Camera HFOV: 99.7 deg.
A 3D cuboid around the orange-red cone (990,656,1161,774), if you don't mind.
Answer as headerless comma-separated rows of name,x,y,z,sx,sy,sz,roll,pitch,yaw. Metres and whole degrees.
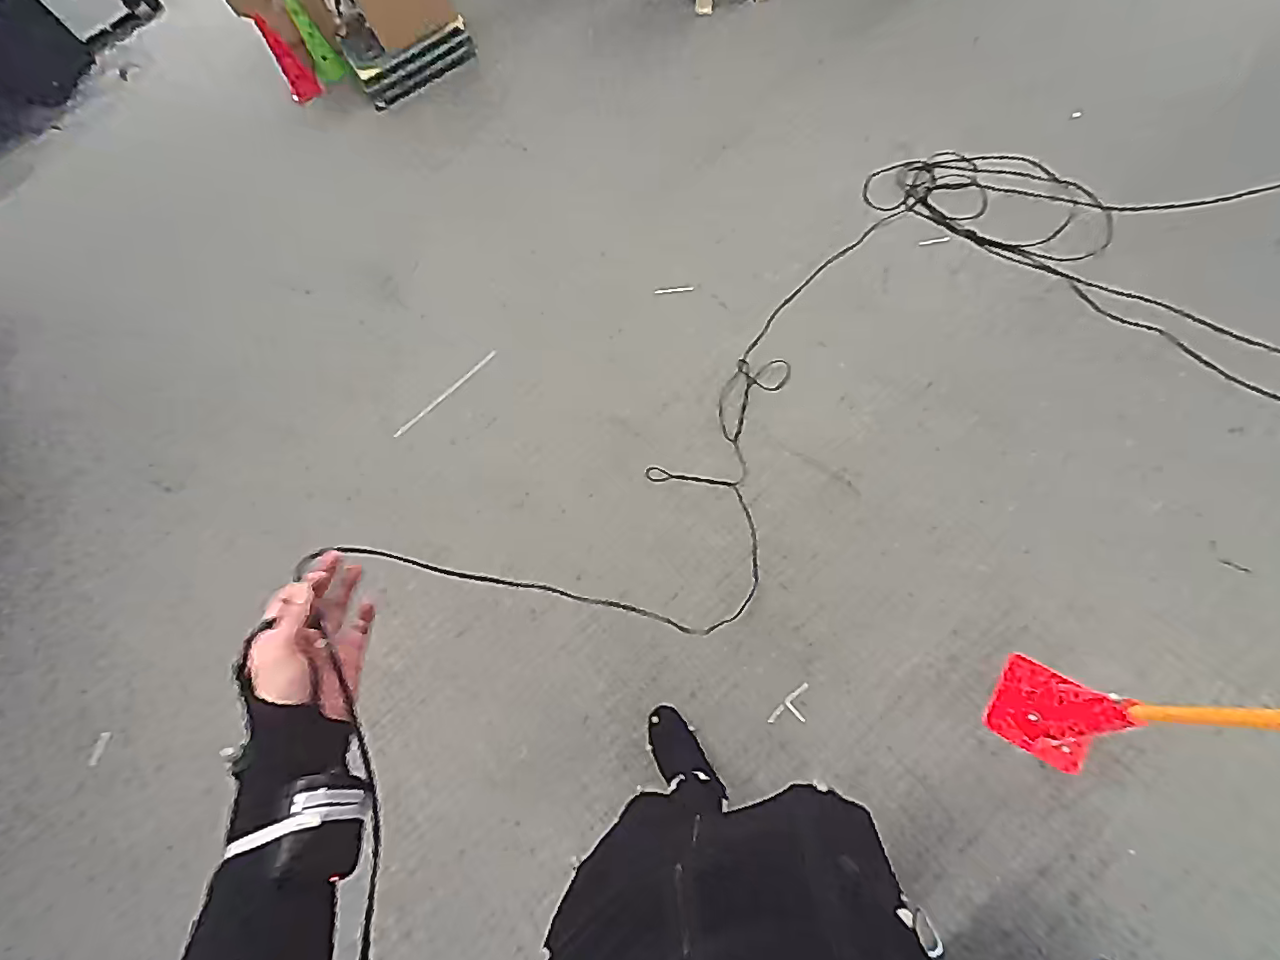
orange-red cone,0.906,0.468,1.089,0.198,0.360,0.199,30,75,21
